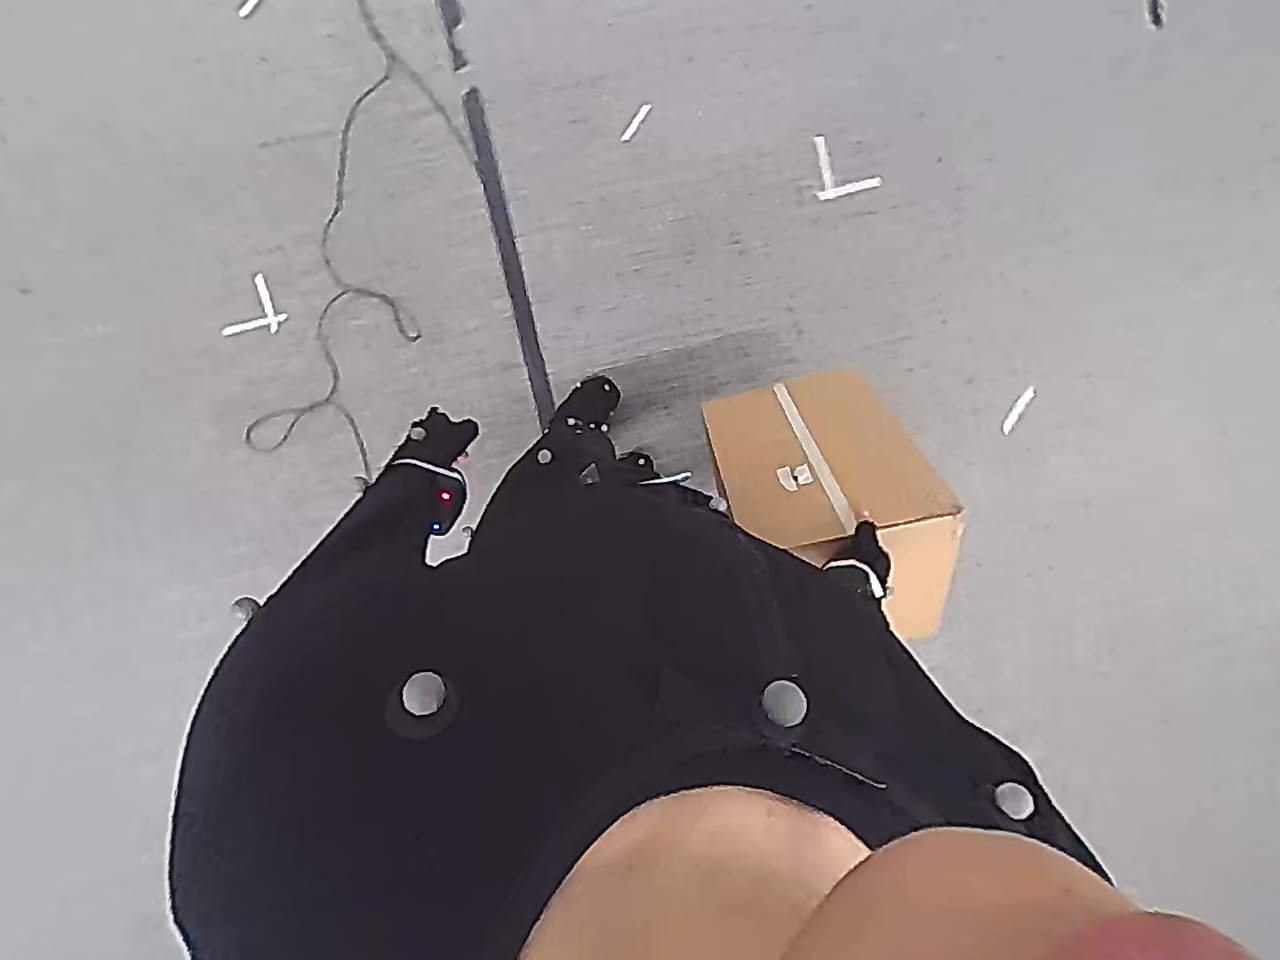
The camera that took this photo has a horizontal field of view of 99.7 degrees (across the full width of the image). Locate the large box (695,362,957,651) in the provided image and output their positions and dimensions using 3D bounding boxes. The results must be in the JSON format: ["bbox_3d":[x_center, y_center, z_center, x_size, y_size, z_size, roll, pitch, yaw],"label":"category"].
[{"bbox_3d":[0.315,0.043,1.019,0.320,0.408,0.320,-16,133,6],"label":"large box"}]
